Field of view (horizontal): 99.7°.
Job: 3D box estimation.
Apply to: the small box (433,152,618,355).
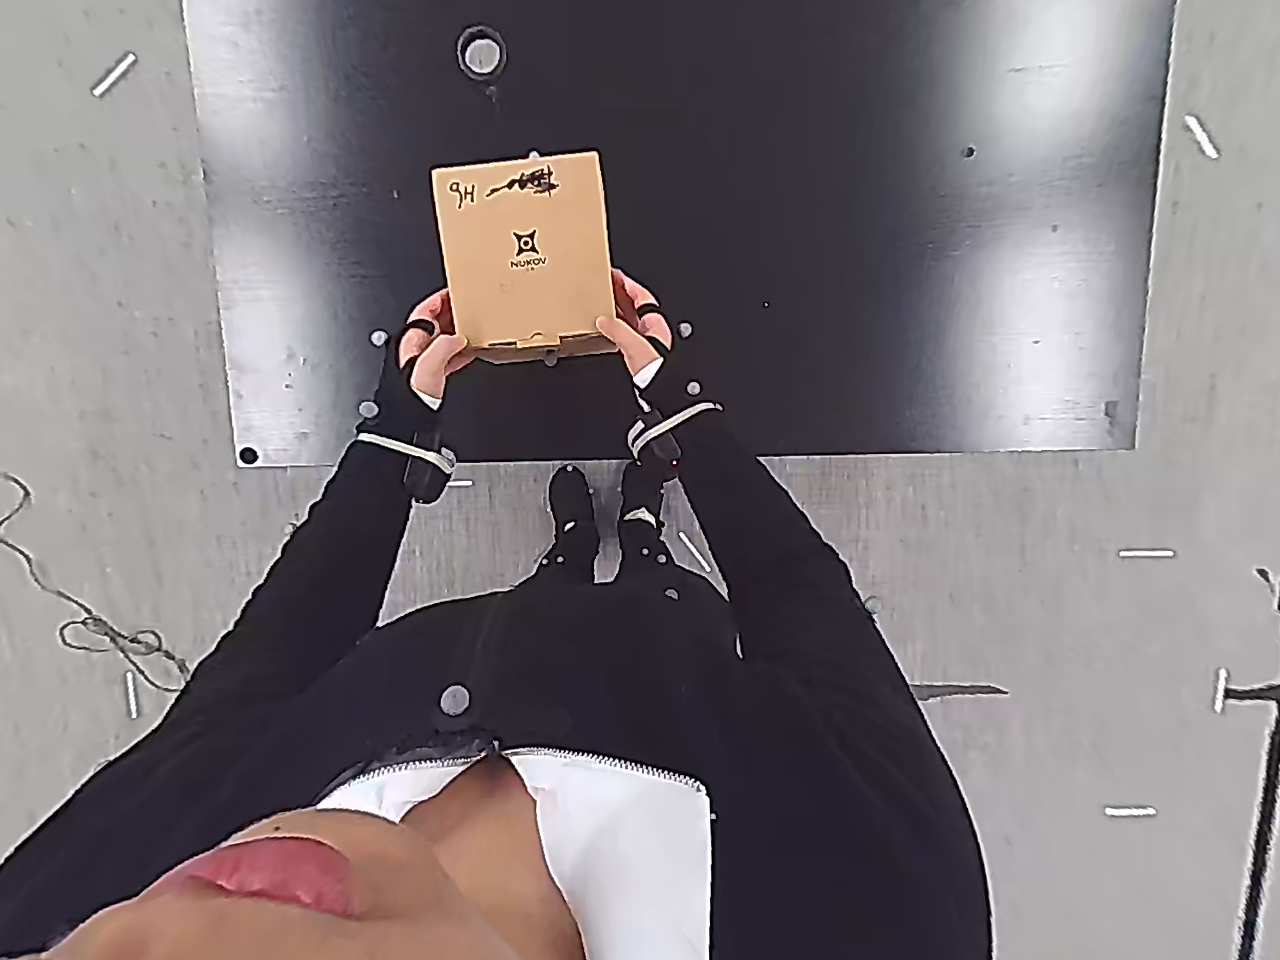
[{"bbox_3d":[-0.116,-0.241,0.622,0.168,0.176,0.179,-6,98,0],"label":"small box"}]
